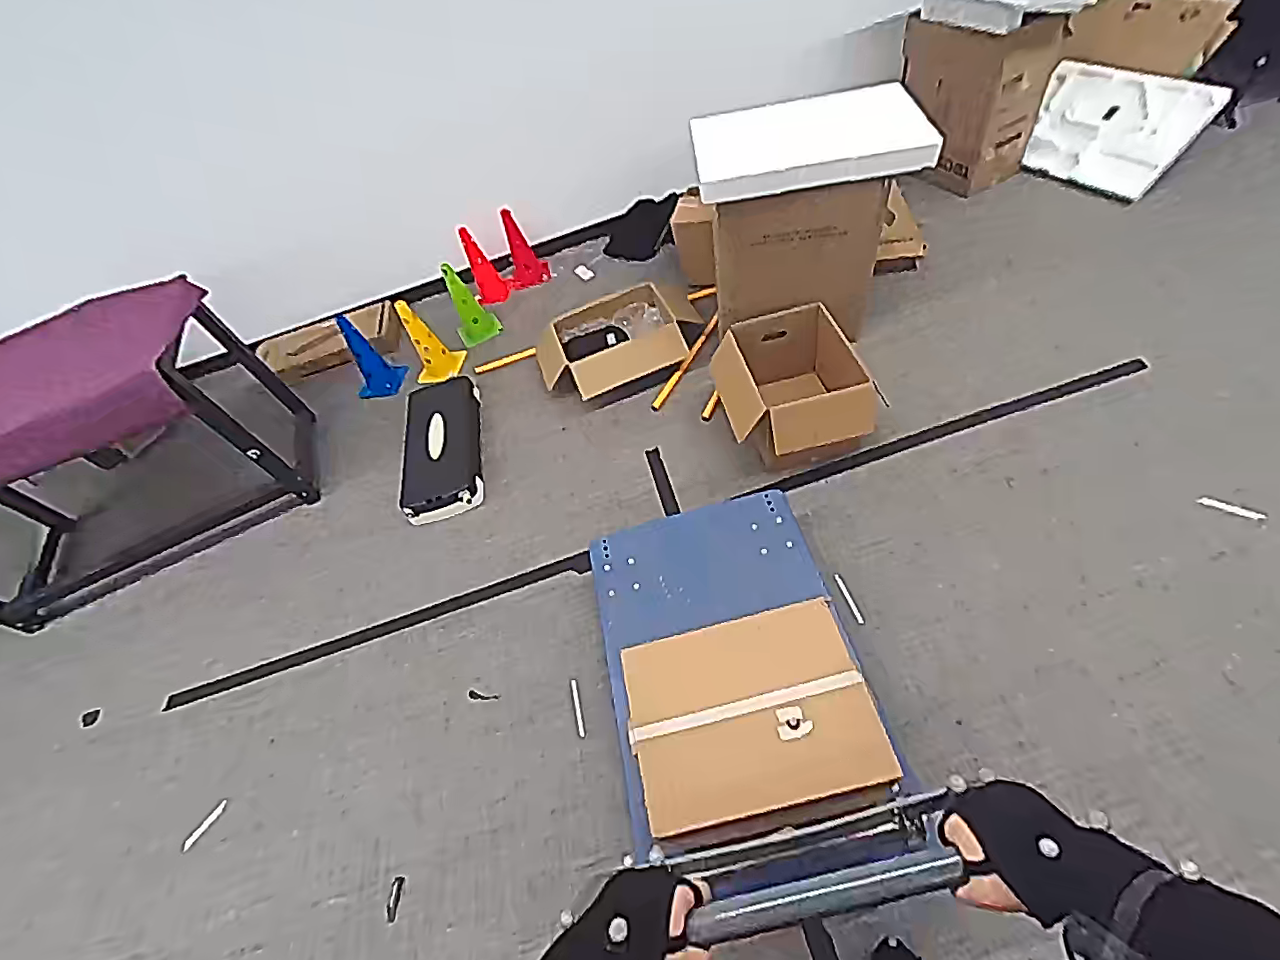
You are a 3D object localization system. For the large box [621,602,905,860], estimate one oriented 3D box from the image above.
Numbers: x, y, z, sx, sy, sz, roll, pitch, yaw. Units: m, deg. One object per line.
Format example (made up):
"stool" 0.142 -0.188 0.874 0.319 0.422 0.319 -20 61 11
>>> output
"large box" 0.210 0.484 1.027 0.408 0.320 0.320 -15 52 2
